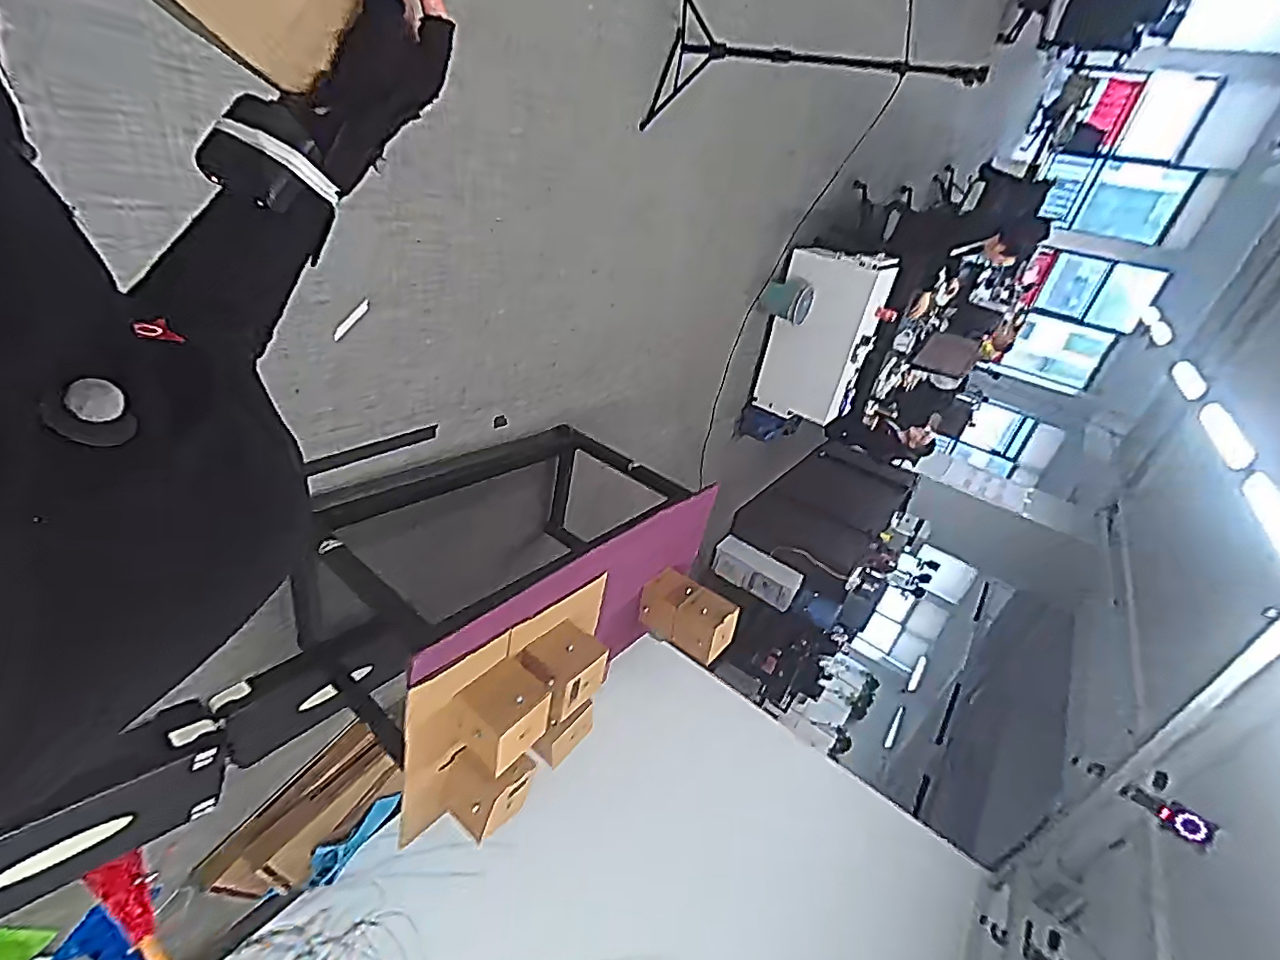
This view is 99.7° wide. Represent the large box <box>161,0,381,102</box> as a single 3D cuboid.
[{"bbox_3d":[-0.352,-0.542,0.306,0.320,0.320,0.408,-51,153,6],"label":"large box"}]
